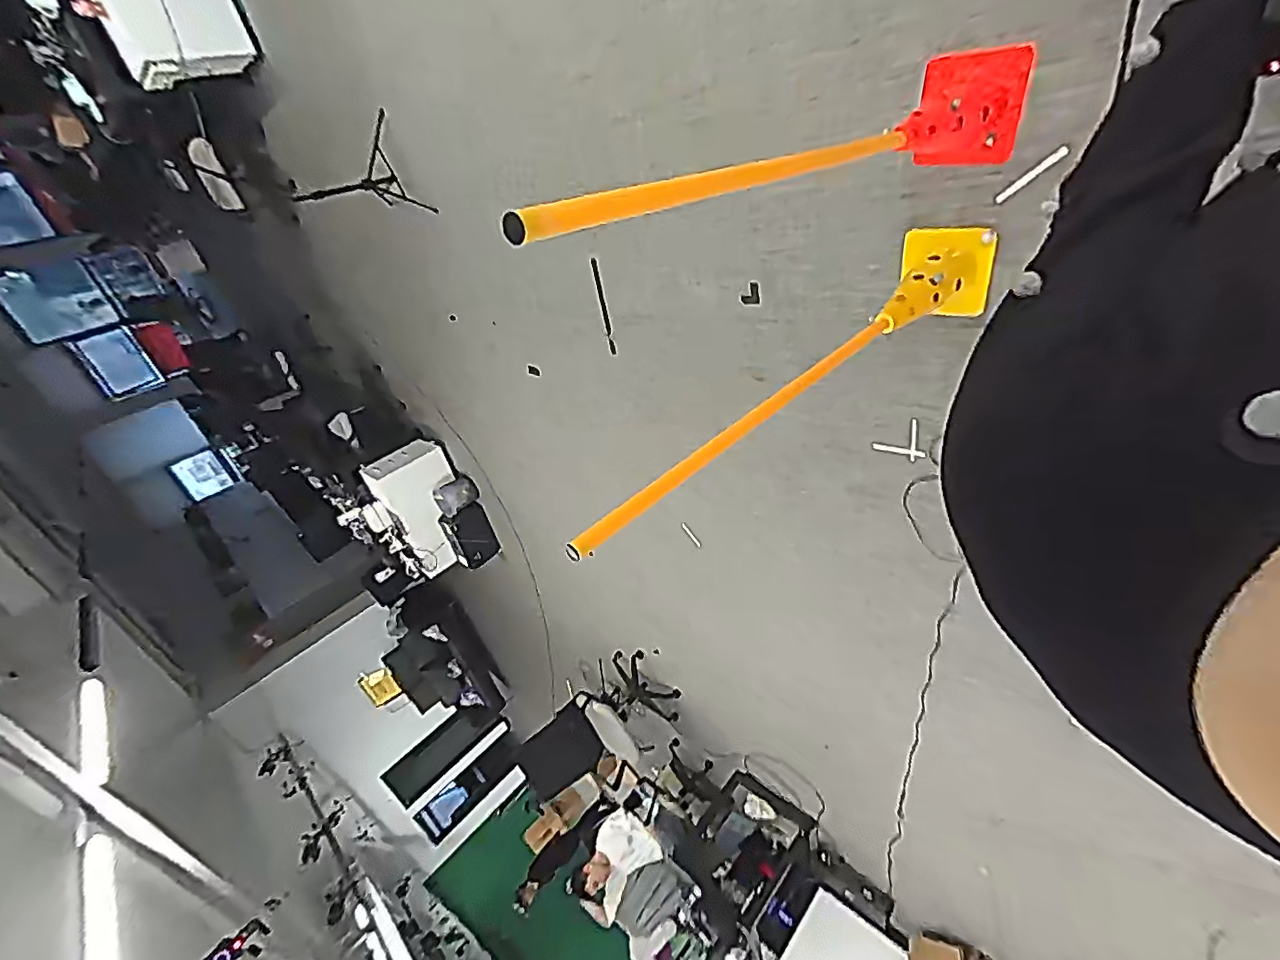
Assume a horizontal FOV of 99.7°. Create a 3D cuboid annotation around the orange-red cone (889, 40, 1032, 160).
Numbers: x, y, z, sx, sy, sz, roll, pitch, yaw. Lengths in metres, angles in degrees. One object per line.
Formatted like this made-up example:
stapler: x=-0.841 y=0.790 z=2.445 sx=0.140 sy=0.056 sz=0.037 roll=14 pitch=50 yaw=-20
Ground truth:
orange-red cone: x=0.559 y=-0.690 z=1.021 sx=0.198 sy=0.360 sz=0.199 roll=24 pitch=136 yaw=35
